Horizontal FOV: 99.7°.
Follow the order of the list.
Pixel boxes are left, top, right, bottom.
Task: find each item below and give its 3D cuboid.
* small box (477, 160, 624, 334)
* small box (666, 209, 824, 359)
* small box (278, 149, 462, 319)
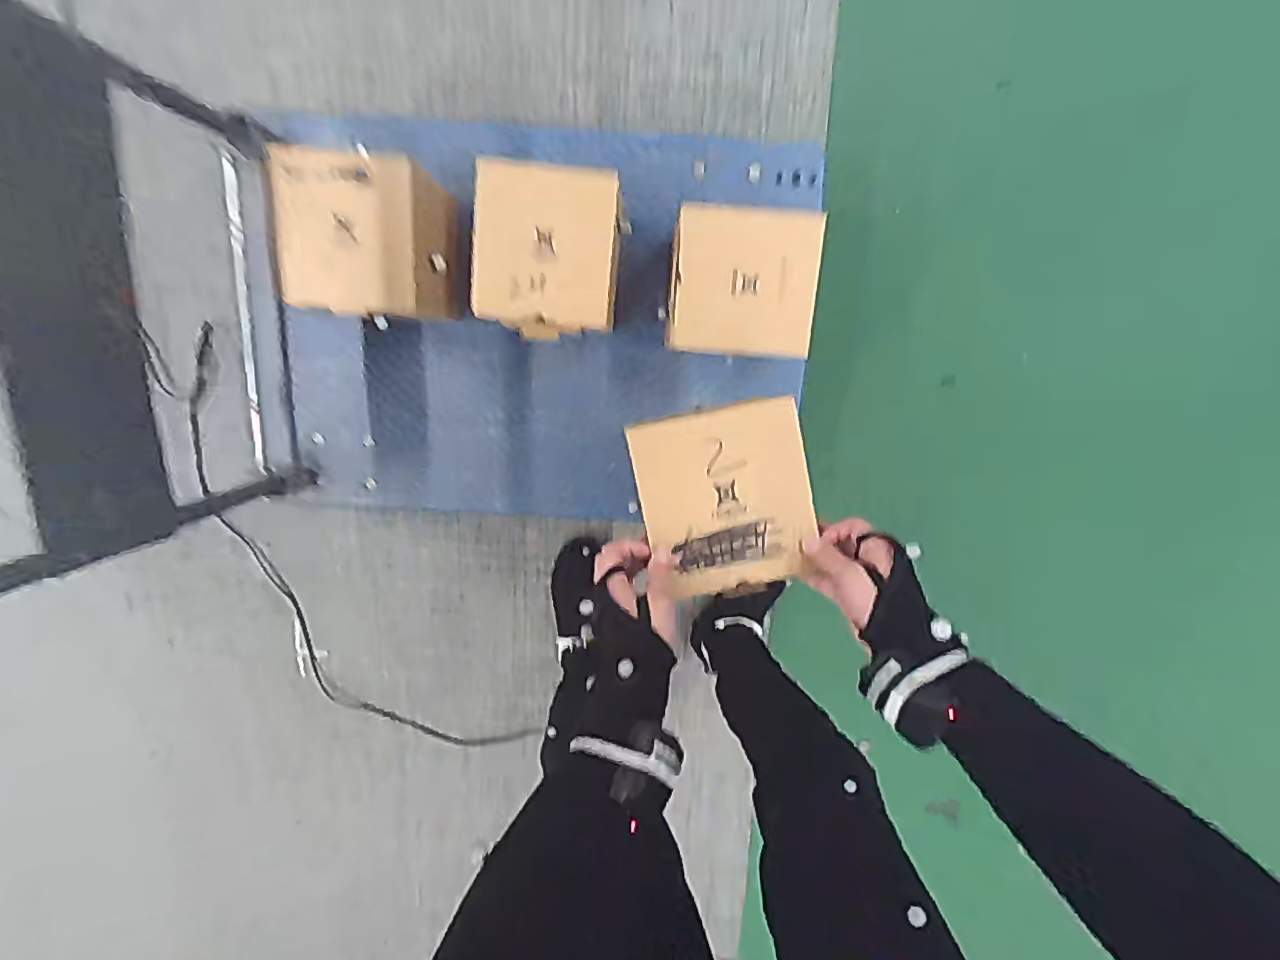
[{"bbox_3d":[-0.112,-0.300,0.733,0.168,0.176,0.179,7,103,-1],"label":"small box"},{"bbox_3d":[0.130,-0.257,0.744,0.179,0.176,0.168,5,103,-1],"label":"small box"},{"bbox_3d":[-0.348,-0.315,0.729,0.168,0.176,0.179,5,103,-1],"label":"small box"}]
